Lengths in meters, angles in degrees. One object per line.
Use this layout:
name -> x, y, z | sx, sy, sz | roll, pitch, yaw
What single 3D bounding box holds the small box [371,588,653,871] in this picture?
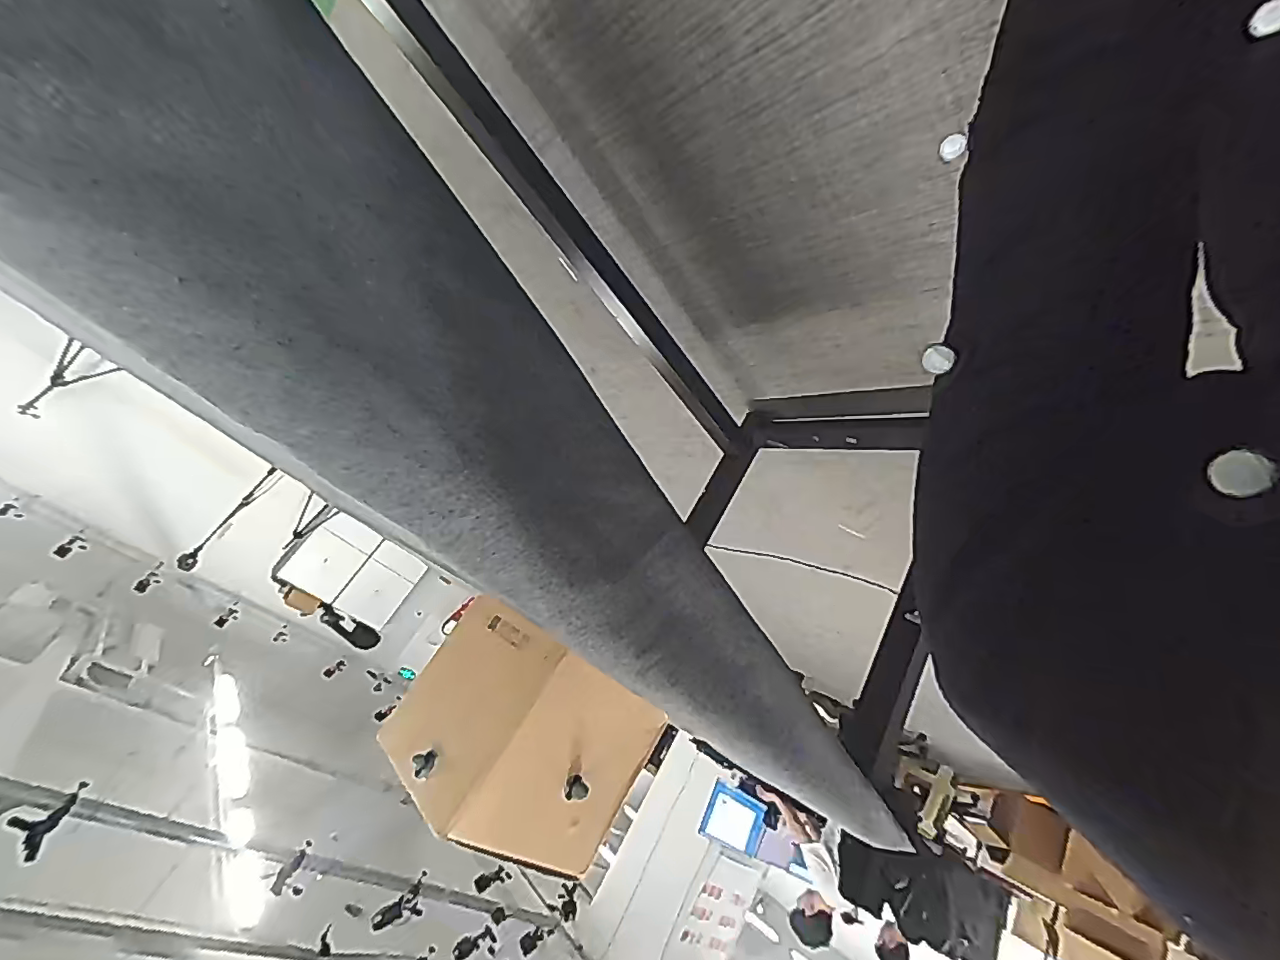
small box -> -0.118, 0.235, 0.535 | 0.168, 0.176, 0.179 | 10, 150, 48
